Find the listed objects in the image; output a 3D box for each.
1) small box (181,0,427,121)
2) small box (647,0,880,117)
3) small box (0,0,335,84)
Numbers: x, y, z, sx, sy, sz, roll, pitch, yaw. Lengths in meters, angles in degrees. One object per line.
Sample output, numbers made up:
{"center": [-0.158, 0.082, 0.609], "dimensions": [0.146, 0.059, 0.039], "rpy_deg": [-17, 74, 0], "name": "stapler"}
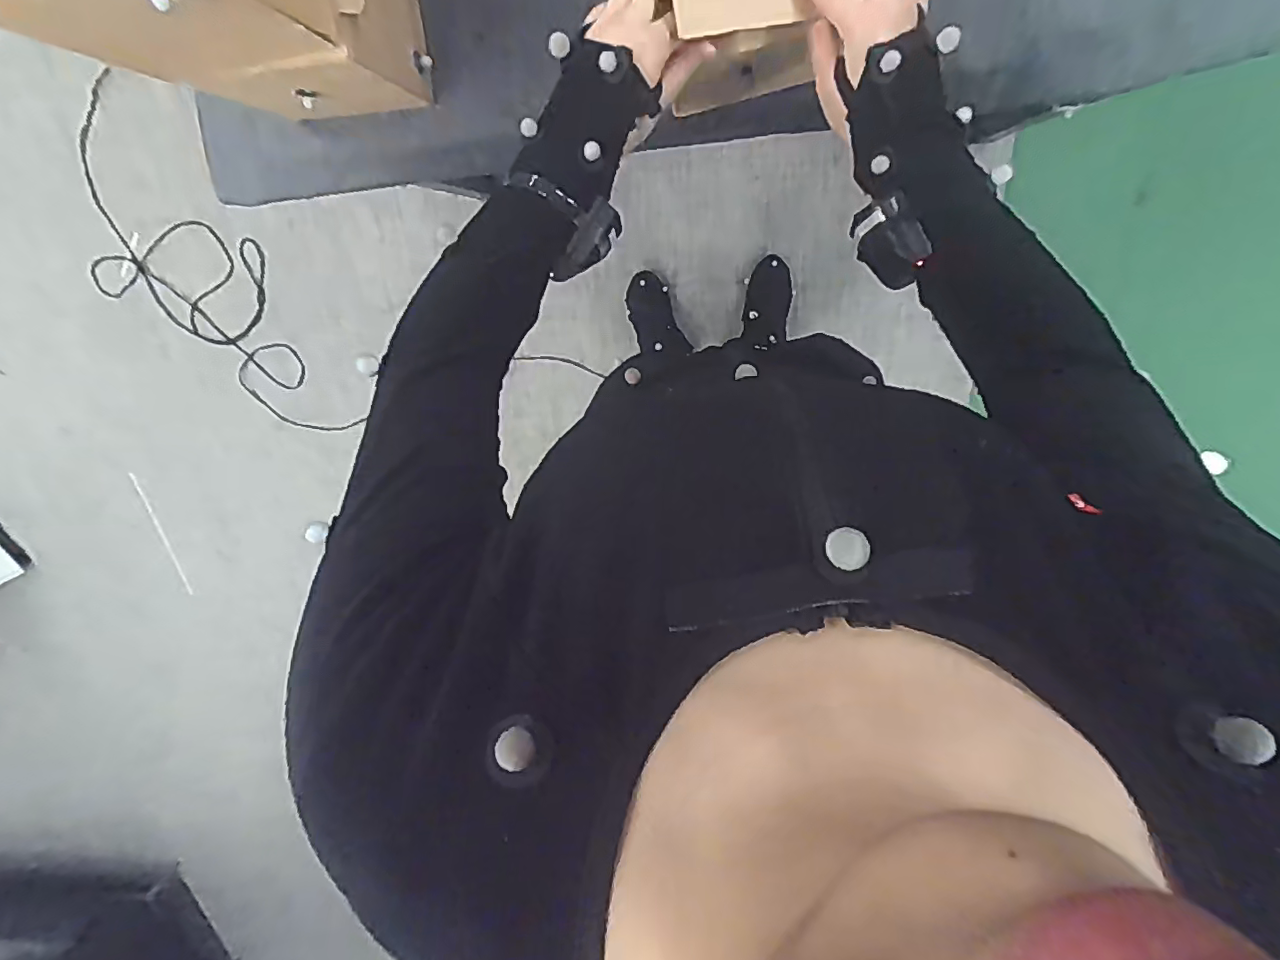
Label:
{"center": [-0.328, -0.464, 0.521], "dimensions": [0.179, 0.176, 0.168], "rpy_deg": [-1, 113, 7], "name": "small box"}
{"center": [0.098, -0.449, 0.478], "dimensions": [0.179, 0.176, 0.168], "rpy_deg": [-8, 112, 12], "name": "small box"}
{"center": [-0.360, -0.404, 0.373], "dimensions": [0.179, 0.176, 0.168], "rpy_deg": [-5, 112, 8], "name": "small box"}
